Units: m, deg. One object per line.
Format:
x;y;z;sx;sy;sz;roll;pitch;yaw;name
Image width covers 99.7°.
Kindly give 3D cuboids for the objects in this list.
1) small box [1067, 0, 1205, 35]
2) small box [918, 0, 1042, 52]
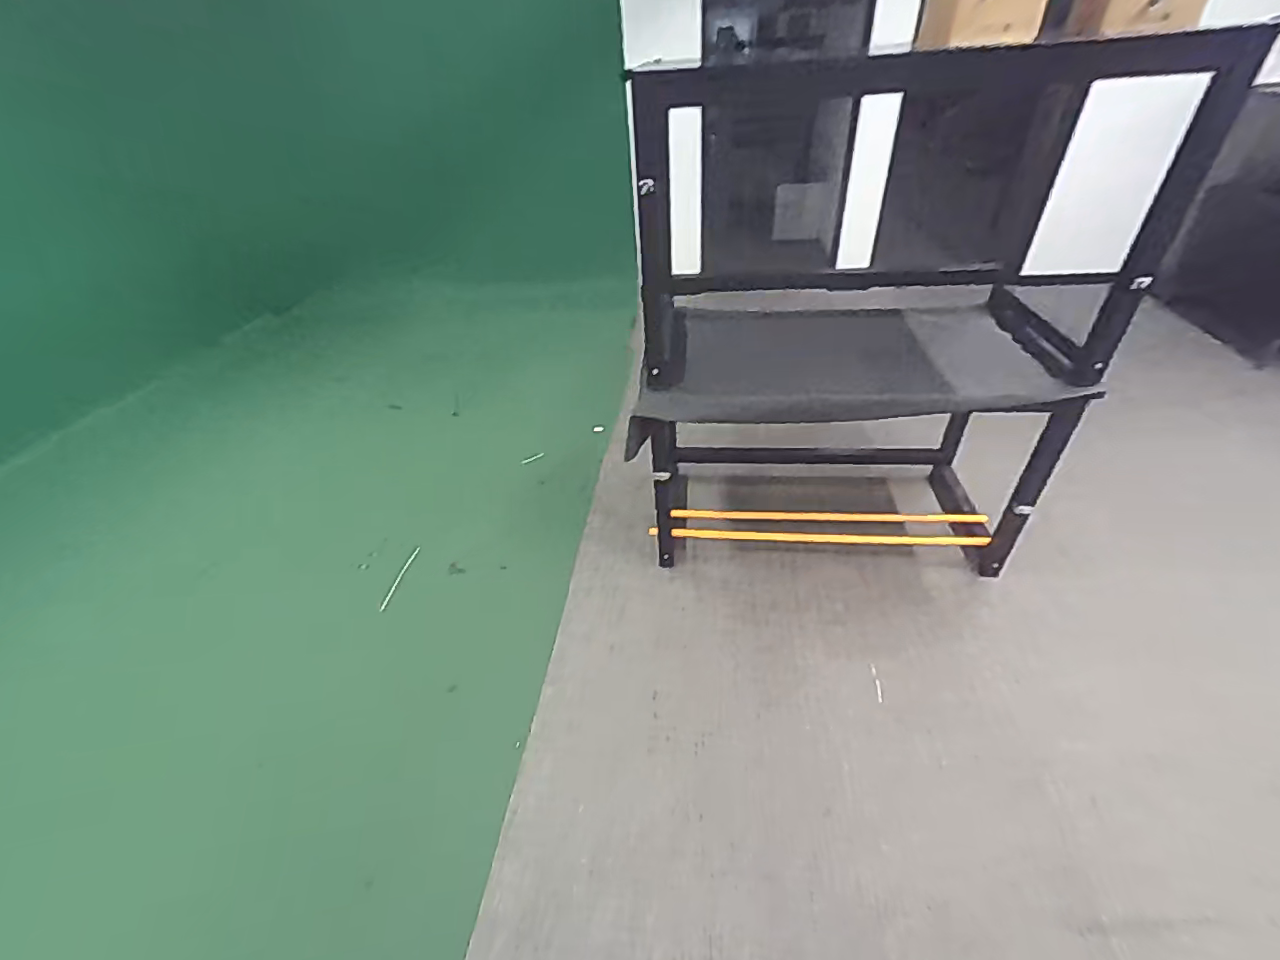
0.979;-0.976;1.049;0.168;0.176;0.179;3;40;11;small box
0.687;-0.973;1.080;0.168;0.176;0.179;-3;38;3;small box
